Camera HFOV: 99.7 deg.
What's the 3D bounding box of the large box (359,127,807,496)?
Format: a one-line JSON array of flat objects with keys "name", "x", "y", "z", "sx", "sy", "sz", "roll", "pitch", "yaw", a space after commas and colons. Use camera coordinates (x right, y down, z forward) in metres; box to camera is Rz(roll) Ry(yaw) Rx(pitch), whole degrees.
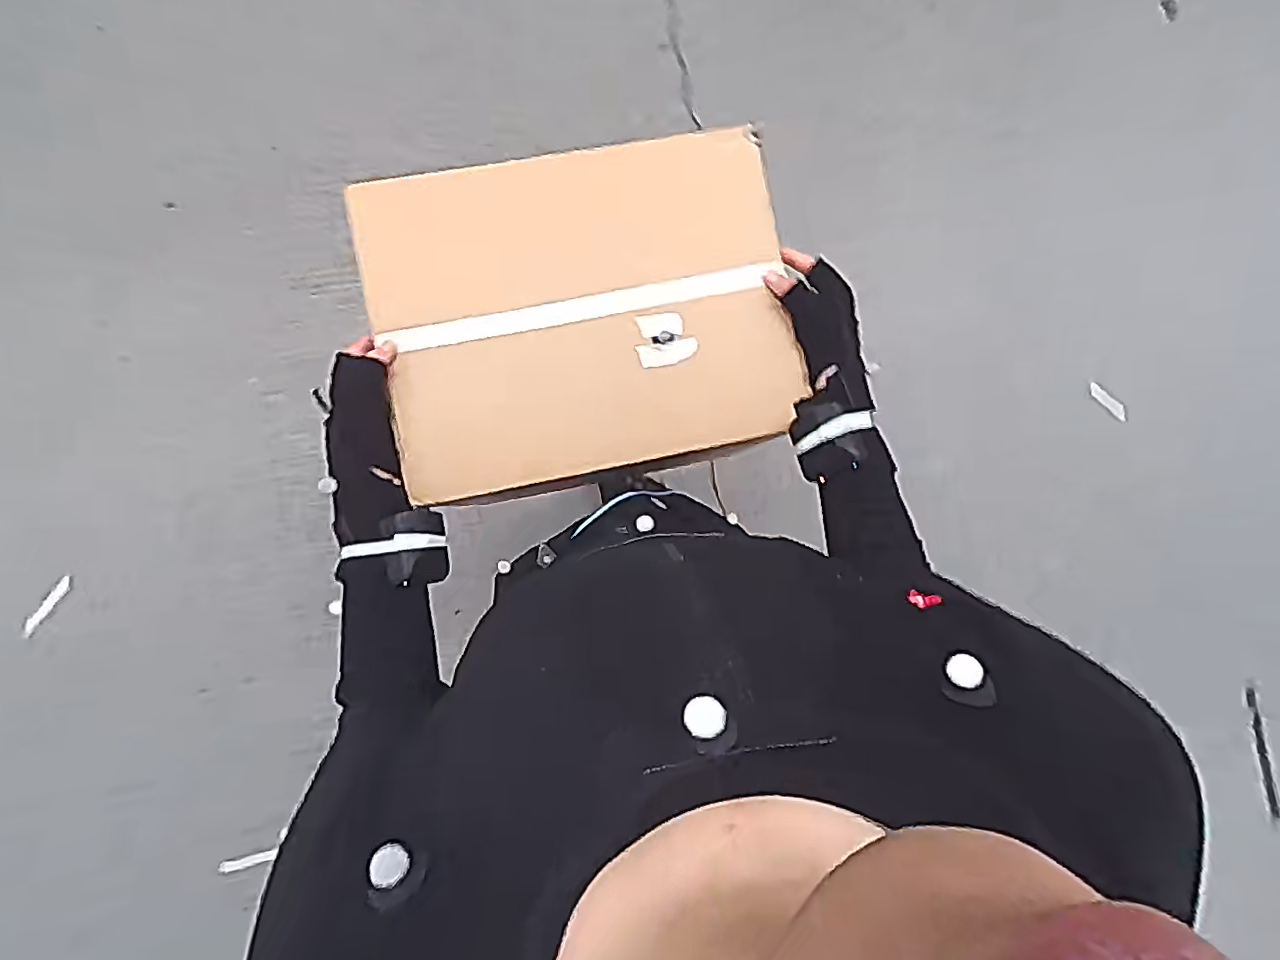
[{"name": "large box", "x": -0.066, "y": -0.172, "z": 0.687, "sx": 0.408, "sy": 0.320, "sz": 0.320, "roll": -12, "pitch": 90, "yaw": -7}]
